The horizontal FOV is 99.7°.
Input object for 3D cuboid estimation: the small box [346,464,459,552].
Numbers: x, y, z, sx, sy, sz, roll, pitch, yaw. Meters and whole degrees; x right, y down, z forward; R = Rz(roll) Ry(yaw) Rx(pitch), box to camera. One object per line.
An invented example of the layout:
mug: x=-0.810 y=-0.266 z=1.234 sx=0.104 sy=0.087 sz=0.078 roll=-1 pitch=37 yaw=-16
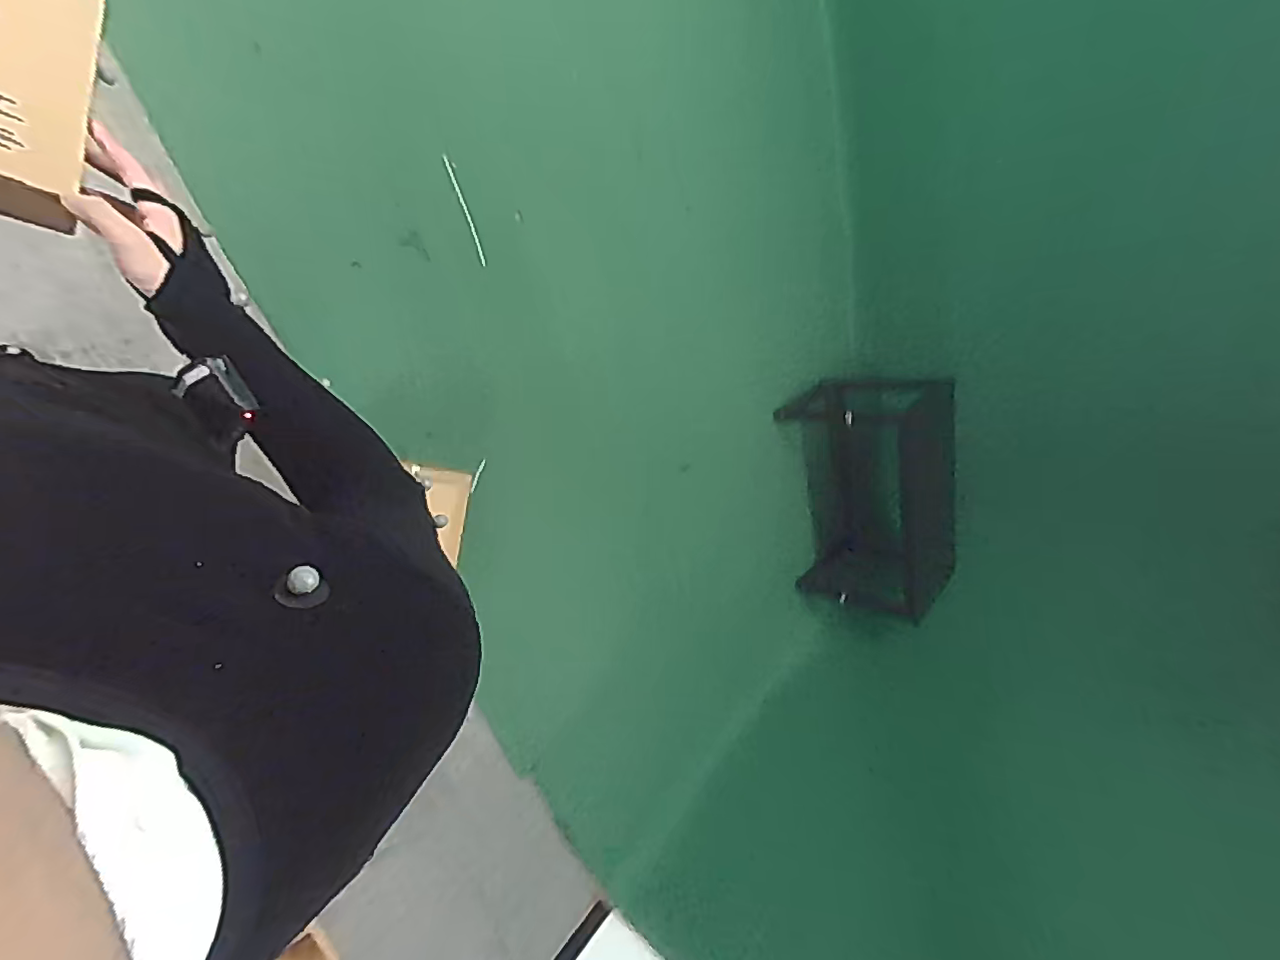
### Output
small box: x=-0.554 y=0.061 z=1.255 sx=0.179 sy=0.176 sz=0.168 roll=15 pitch=88 yaw=-45
